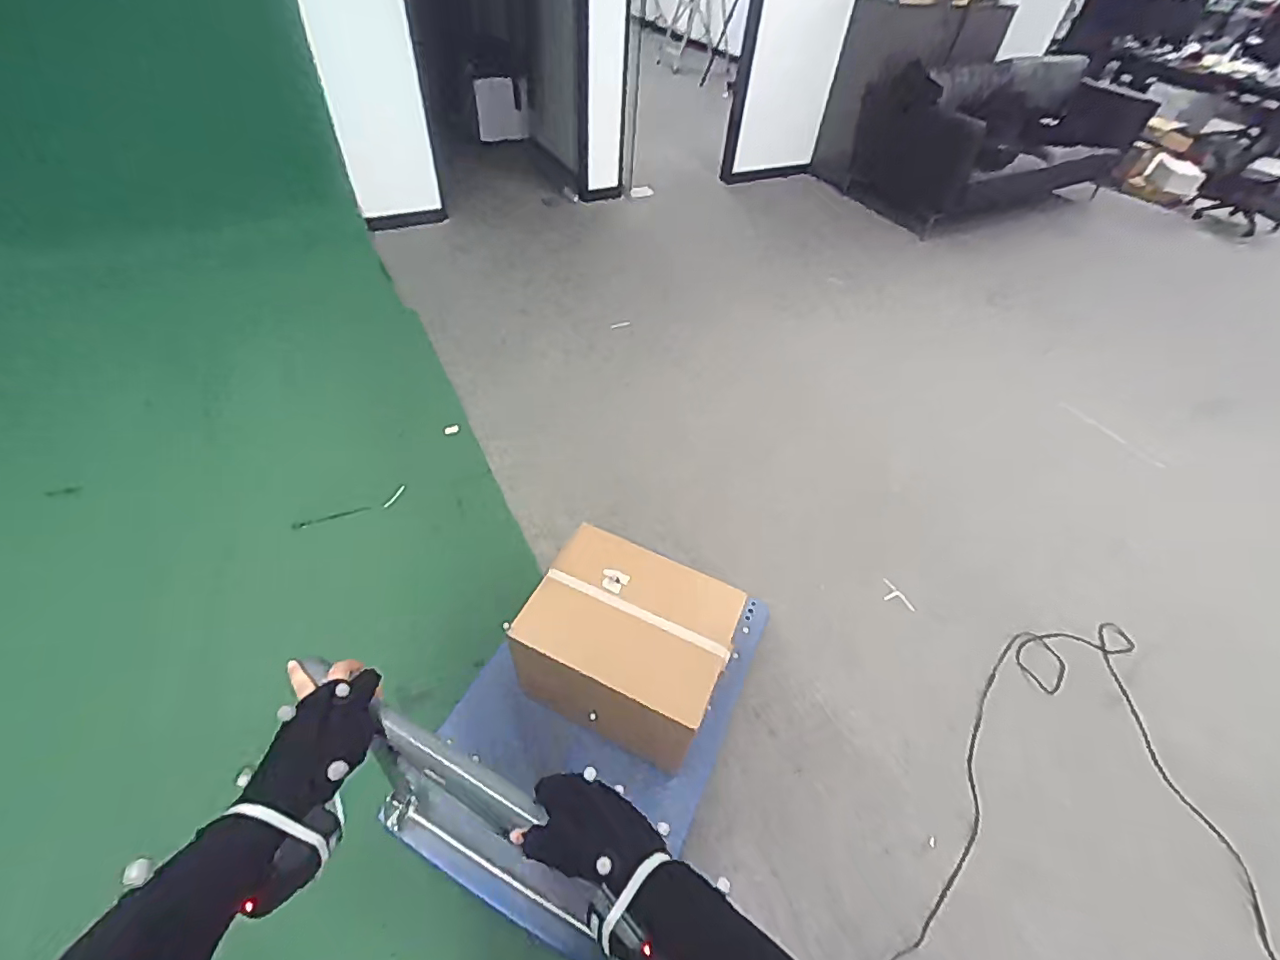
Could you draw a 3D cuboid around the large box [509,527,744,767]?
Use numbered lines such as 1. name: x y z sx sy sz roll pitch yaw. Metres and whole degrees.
1. large box: -0.024 0.374 1.218 0.408 0.320 0.320 22 49 14
